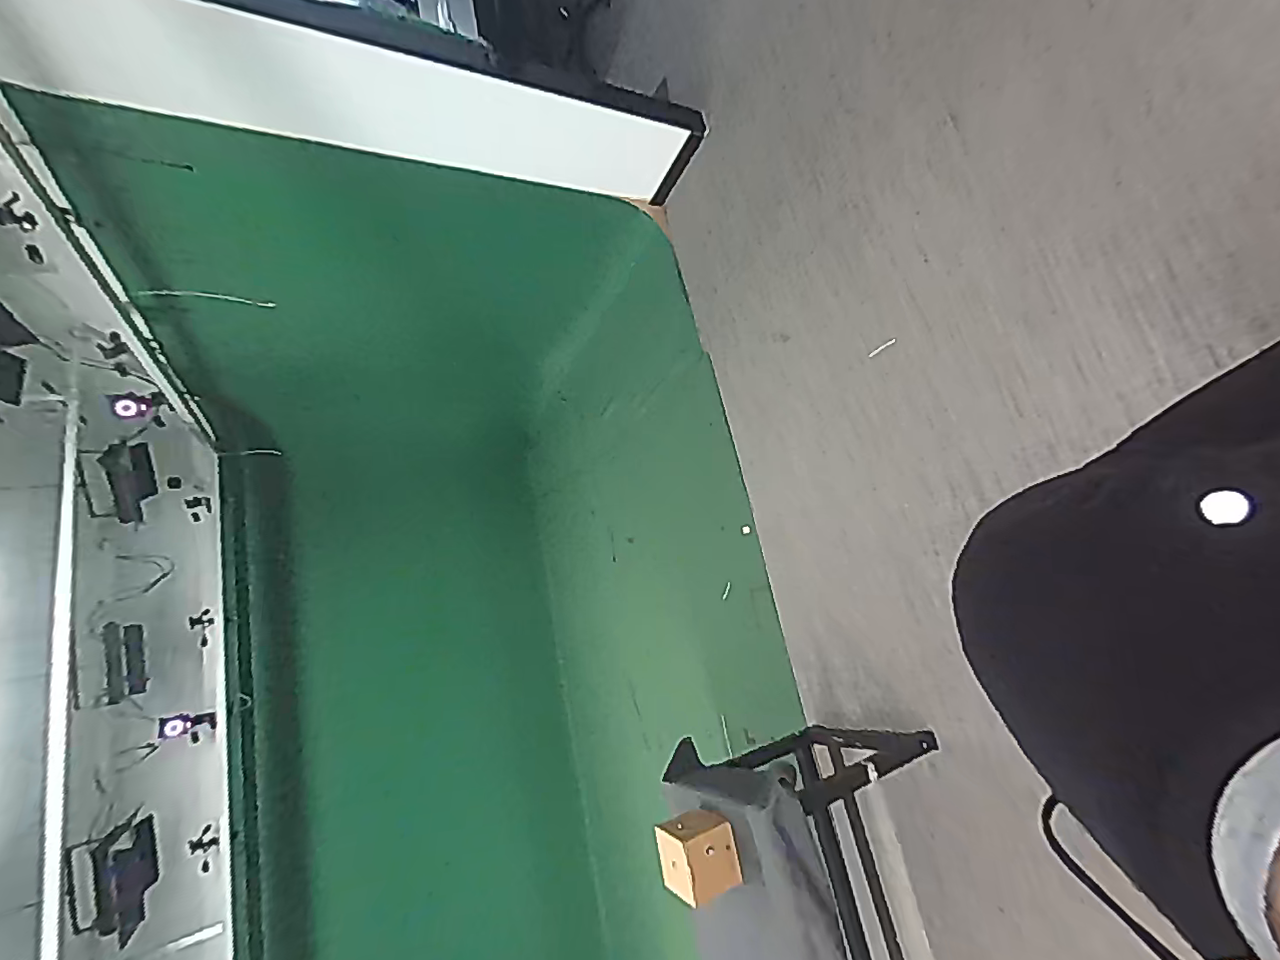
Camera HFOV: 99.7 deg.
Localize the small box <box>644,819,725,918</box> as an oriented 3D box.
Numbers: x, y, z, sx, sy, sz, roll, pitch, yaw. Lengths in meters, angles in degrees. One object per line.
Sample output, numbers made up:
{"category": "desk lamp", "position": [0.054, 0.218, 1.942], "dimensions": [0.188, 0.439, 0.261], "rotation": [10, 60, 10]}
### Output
{"category": "small box", "position": [0.134, 1.118, 1.575], "dimensions": [0.179, 0.176, 0.168], "rotation": [-33, 63, 59]}
